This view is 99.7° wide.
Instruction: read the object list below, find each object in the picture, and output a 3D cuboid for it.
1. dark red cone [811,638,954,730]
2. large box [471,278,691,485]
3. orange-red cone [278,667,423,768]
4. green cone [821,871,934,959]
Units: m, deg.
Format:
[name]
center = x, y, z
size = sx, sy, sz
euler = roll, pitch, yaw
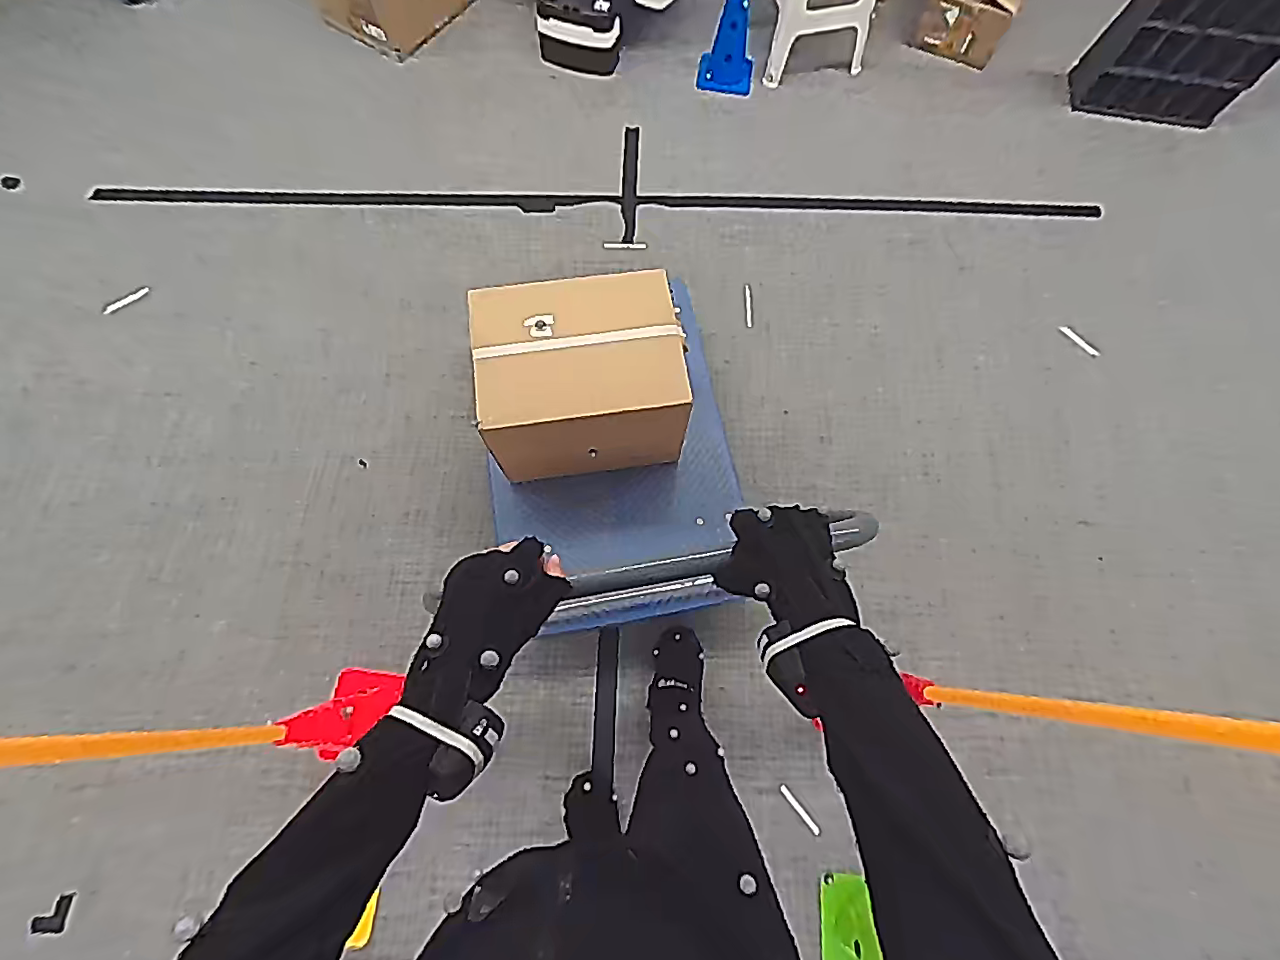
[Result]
[dark red cone]
center = 0.516, 0.423, 1.119
size = 0.201, 0.394, 0.202
euler = 2, 70, -2
[large box]
center = -0.123, -0.202, 1.202
size = 0.408, 0.320, 0.320
euler = -8, 71, -3
[orange-red cone]
center = -0.616, 0.488, 1.098
size = 0.198, 0.360, 0.199
euler = 9, 69, 1
[green cone]
center = 0.487, 0.884, 0.970
size = 0.202, 0.368, 0.200
euler = 5, 70, 0
